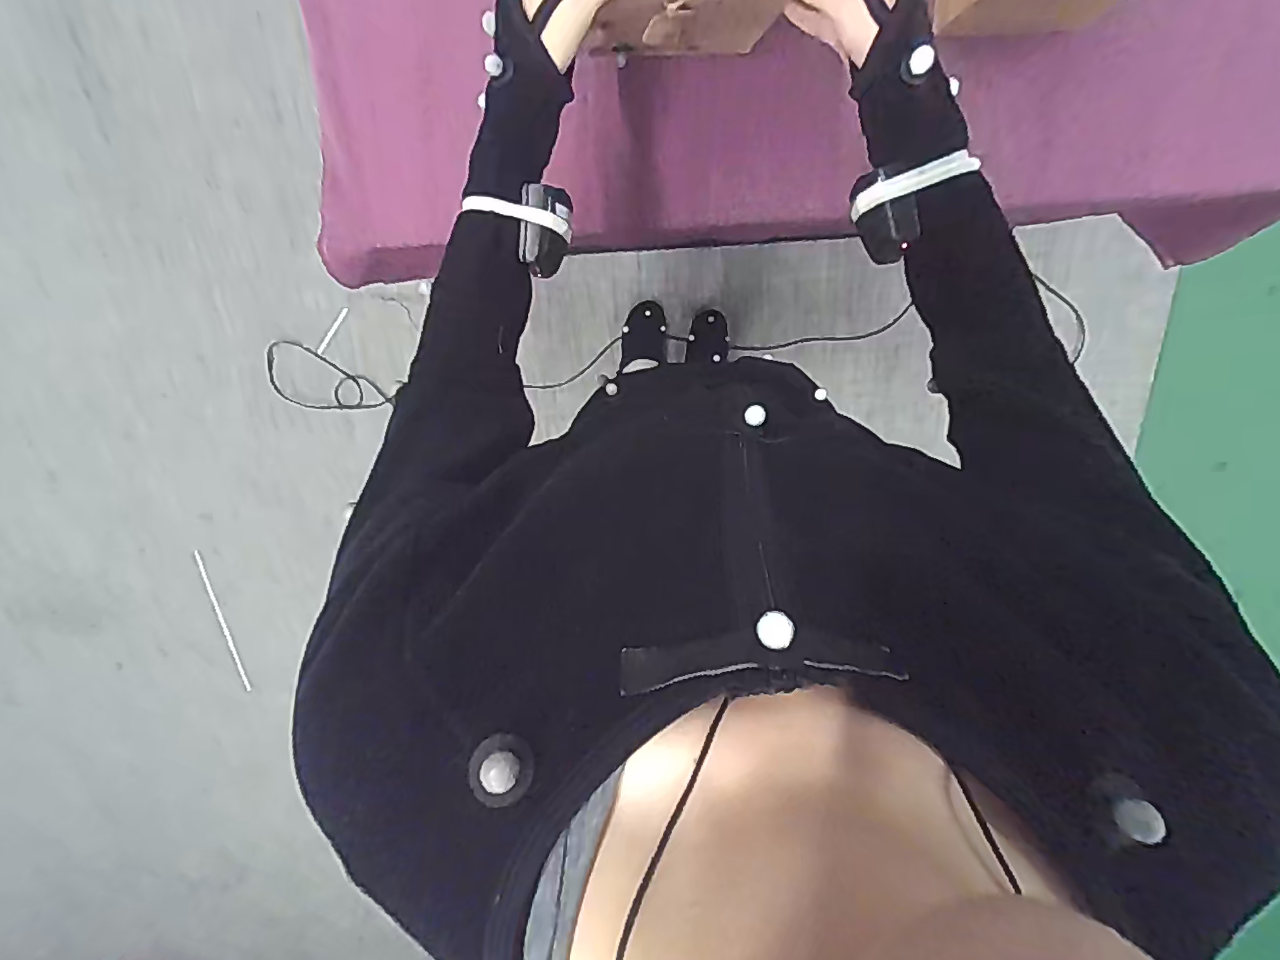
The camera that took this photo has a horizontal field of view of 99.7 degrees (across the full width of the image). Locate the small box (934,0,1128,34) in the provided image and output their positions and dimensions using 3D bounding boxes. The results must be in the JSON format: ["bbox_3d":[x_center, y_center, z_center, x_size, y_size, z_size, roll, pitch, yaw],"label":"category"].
[{"bbox_3d":[0.418,-0.557,0.510,0.179,0.176,0.168,-3,109,-2],"label":"small box"}]

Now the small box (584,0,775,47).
[{"bbox_3d":[0.033,-0.479,0.437,0.168,0.176,0.179,-5,113,-4],"label":"small box"}]
